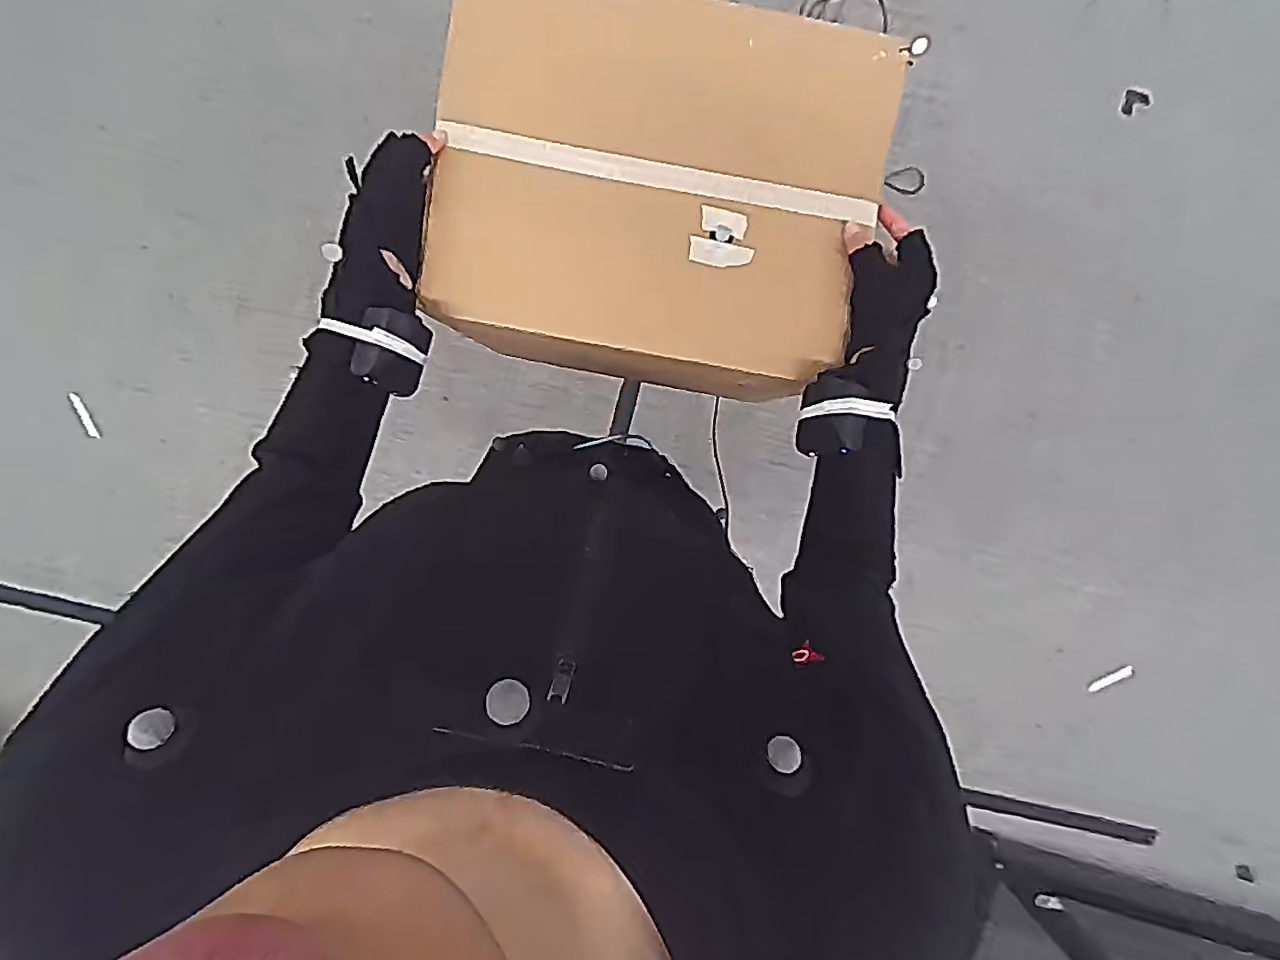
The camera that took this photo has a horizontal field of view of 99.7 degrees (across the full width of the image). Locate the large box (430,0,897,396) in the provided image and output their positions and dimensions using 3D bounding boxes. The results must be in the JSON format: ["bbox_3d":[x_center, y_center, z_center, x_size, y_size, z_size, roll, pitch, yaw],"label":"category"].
[{"bbox_3d":[0.014,-0.294,0.654,0.408,0.320,0.320,10,96,-2],"label":"large box"}]
